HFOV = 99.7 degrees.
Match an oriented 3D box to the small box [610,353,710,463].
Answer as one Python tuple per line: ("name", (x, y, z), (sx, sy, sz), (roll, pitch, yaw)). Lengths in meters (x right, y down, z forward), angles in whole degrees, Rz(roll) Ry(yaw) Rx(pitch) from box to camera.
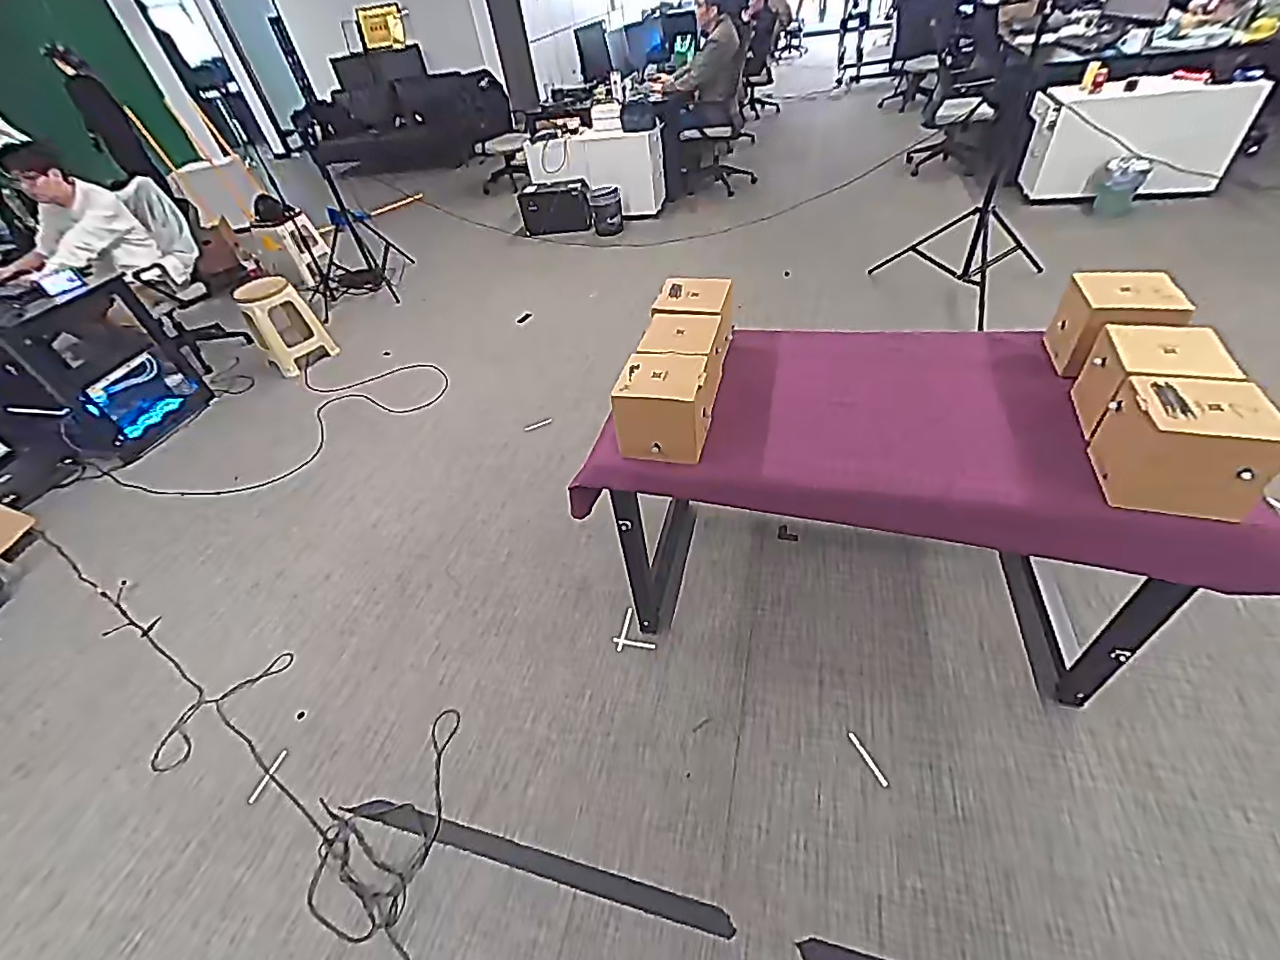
("small box", (0.051, -0.154, 1.174), (0.179, 0.176, 0.168), (7, 45, 15))

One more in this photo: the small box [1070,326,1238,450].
("small box", (0.971, -0.178, 1.043), (0.168, 0.176, 0.179), (9, 45, 20))

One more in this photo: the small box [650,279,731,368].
("small box", (0.139, -0.410, 1.423), (0.179, 0.176, 0.168), (8, 48, 16))

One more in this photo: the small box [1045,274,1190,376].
("small box", (1.028, -0.337, 1.189), (0.179, 0.176, 0.168), (7, 47, 16))
